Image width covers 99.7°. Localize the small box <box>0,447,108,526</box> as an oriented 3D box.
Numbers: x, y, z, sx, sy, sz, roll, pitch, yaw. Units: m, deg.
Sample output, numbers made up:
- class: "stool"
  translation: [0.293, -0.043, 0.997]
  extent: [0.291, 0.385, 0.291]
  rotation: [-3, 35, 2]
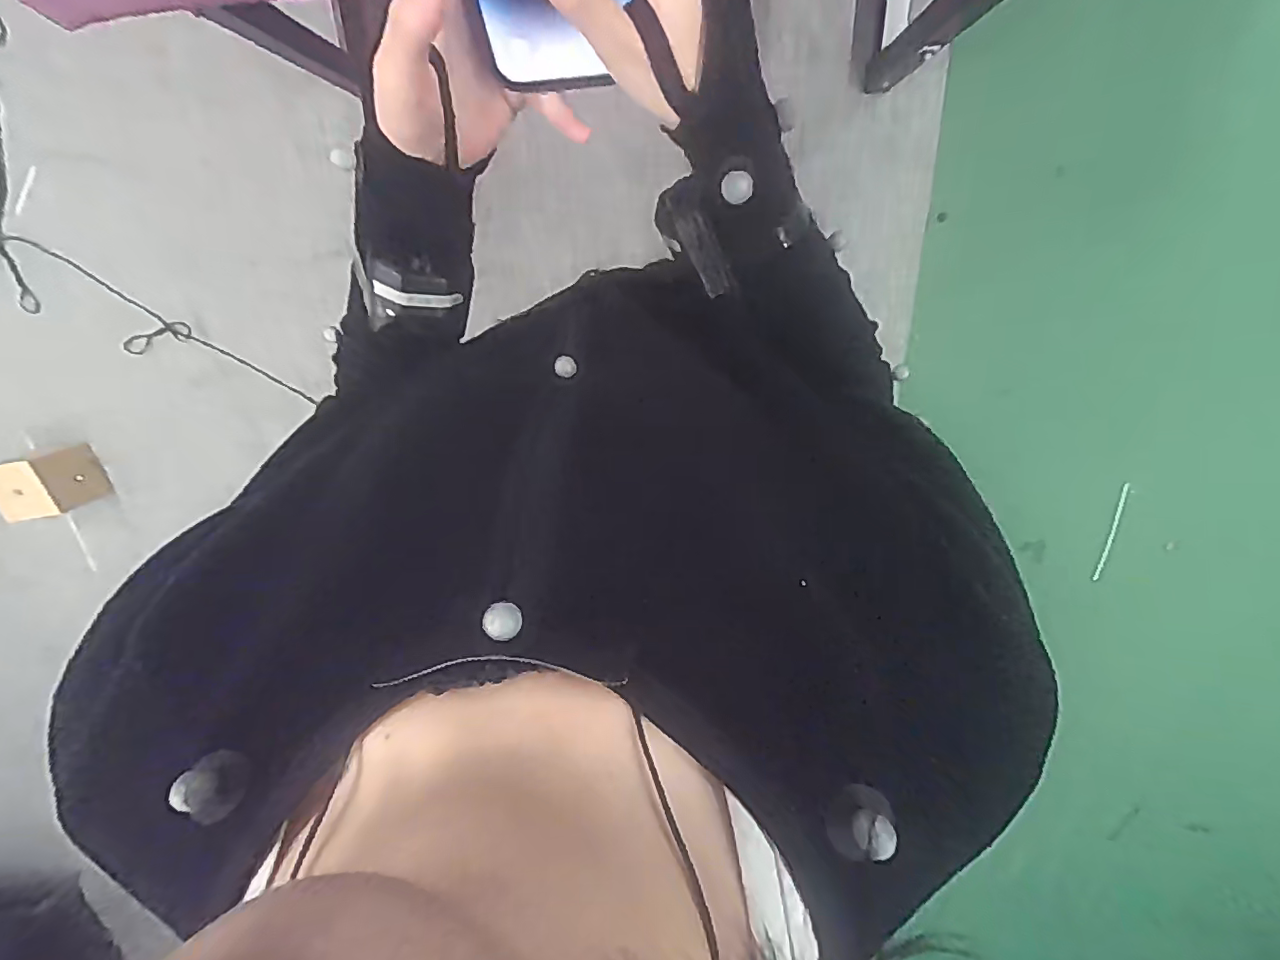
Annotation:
- class: "small box"
  translation: [-1.703, 0.014, 1.556]
  extent: [0.179, 0.176, 0.168]
  rotation: [-7, 111, 6]
